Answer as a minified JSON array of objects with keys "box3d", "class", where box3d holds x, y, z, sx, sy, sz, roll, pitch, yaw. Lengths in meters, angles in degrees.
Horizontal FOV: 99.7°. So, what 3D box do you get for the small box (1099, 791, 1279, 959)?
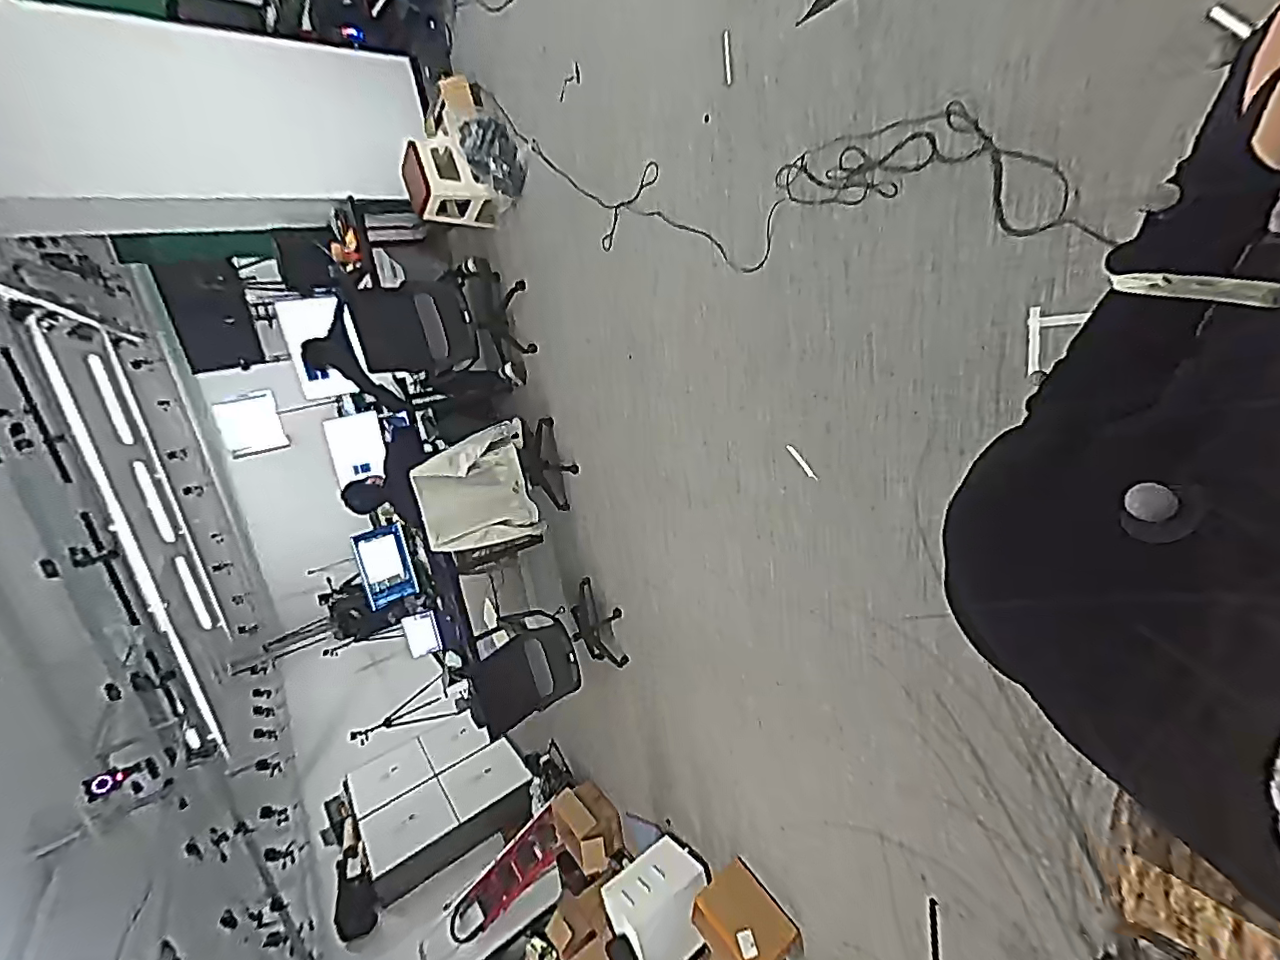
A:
[{"box3d":[0.863,0.640,0.841,0.168,0.176,0.179,23,123,47],"class":"small box"}]
